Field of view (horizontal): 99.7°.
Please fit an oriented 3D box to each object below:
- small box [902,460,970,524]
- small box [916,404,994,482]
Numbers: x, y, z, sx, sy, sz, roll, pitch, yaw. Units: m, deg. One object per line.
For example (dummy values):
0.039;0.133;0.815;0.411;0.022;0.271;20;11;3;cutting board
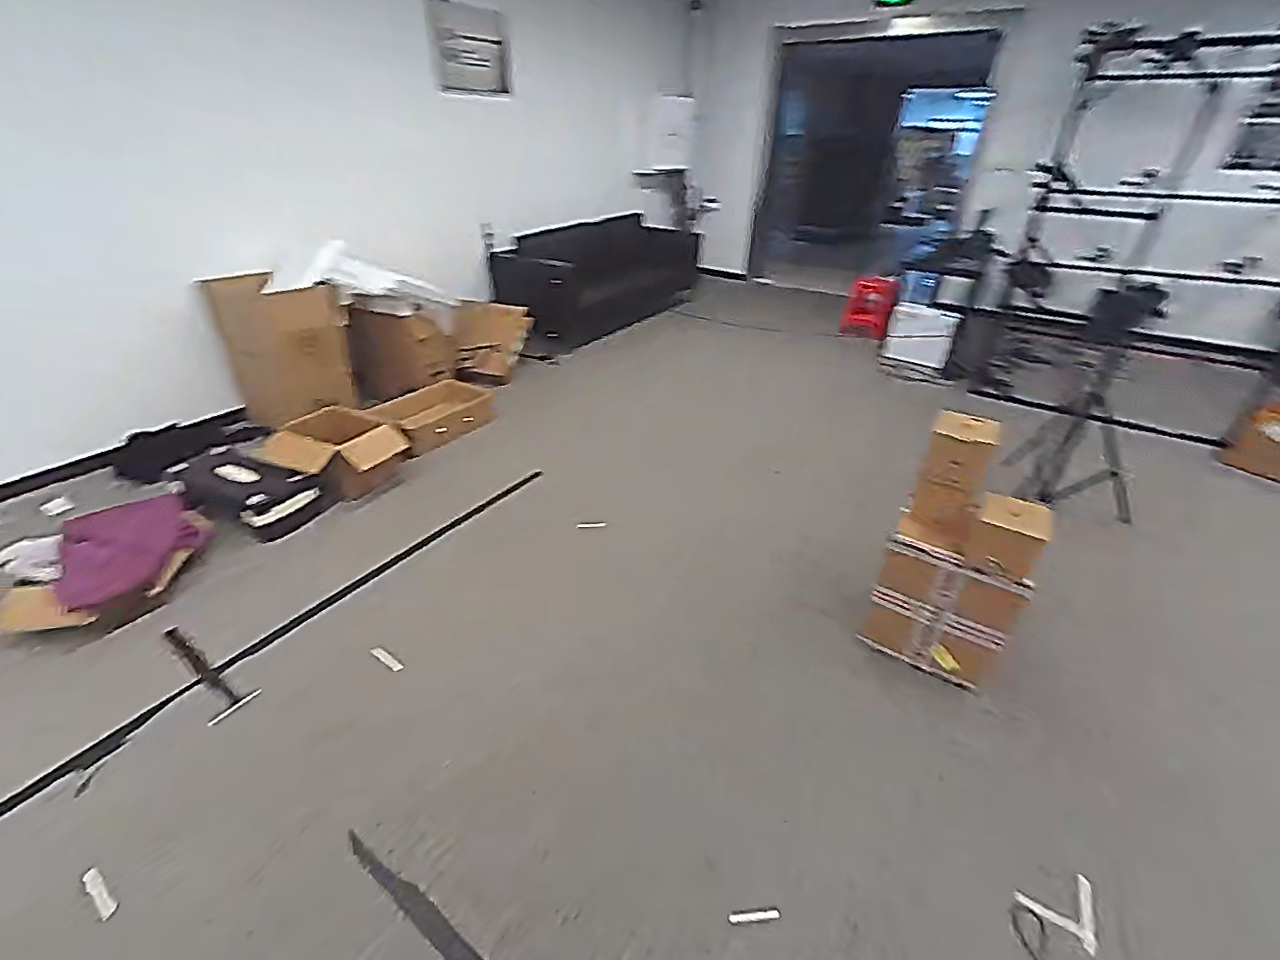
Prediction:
0.989;0.016;1.798;0.168;0.176;0.179;17;38;27;small box
0.984;-0.116;1.698;0.168;0.176;0.179;19;39;28;small box
